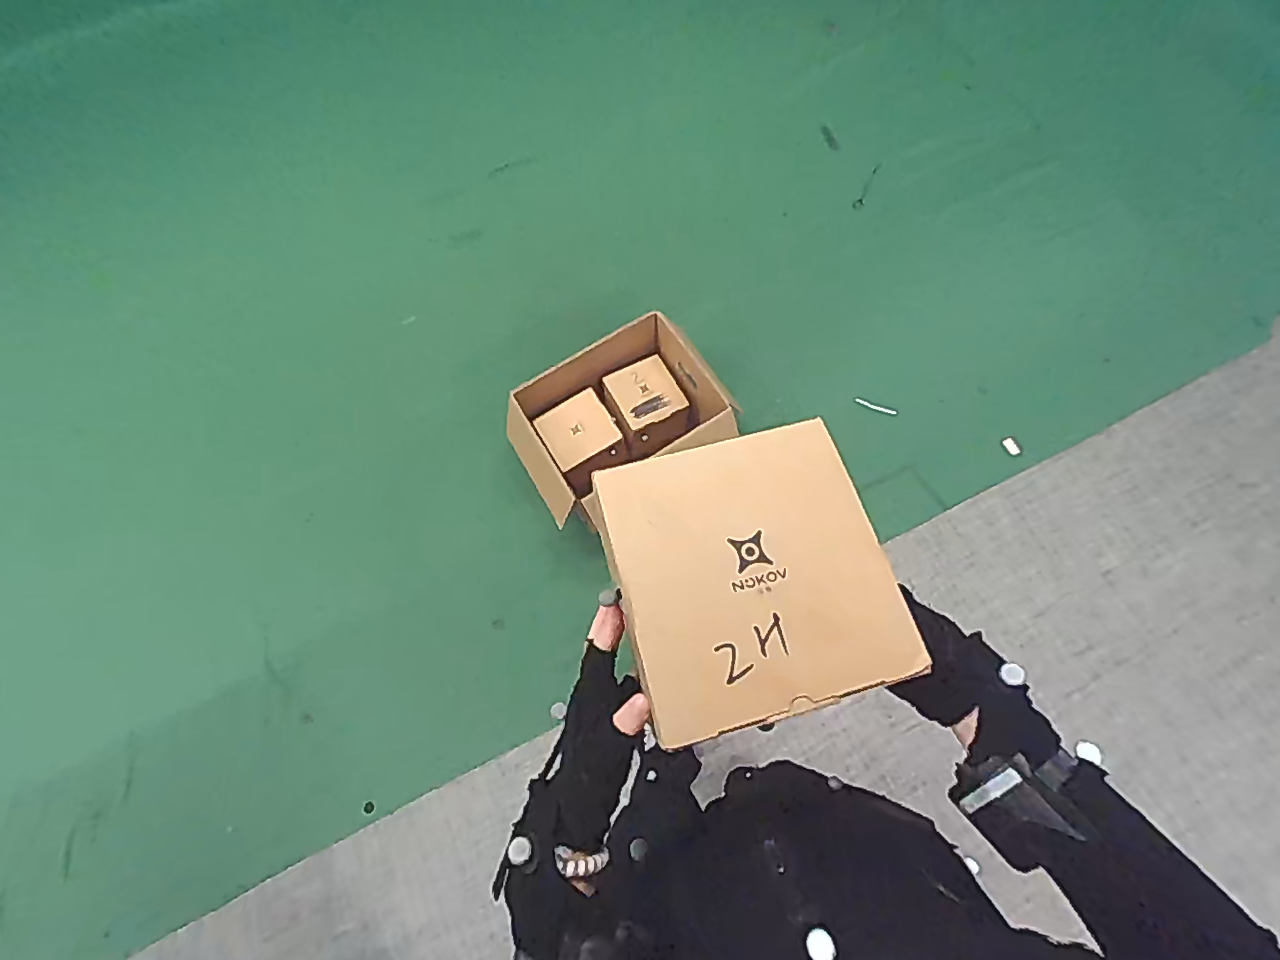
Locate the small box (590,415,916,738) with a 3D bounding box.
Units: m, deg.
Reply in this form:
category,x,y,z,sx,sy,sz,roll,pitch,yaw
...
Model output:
category,x,y,z,sx,sy,sz,roll,pitch,yaw
small box,0.061,0.078,0.410,0.168,0.176,0.179,-13,70,-6
